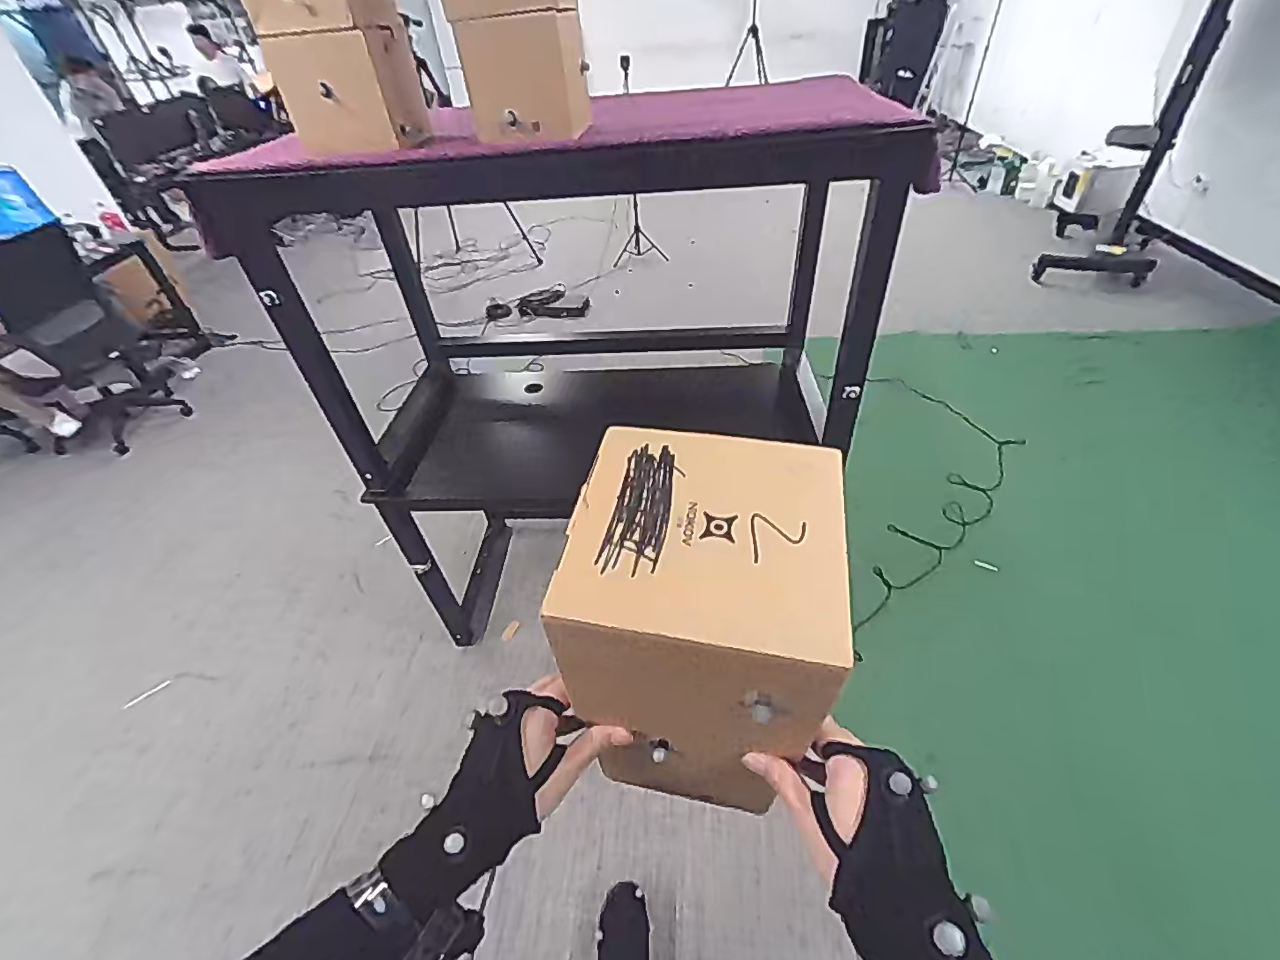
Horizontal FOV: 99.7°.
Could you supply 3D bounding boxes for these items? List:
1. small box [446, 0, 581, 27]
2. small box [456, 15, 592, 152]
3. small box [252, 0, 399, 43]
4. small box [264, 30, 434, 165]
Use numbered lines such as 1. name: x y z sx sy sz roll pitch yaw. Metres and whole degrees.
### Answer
1. small box: -0.199 -0.786 0.802 0.179 0.176 0.168 -1 41 8
2. small box: -0.182 -0.666 0.912 0.168 0.176 0.179 0 42 8
3. small box: -0.504 -0.795 0.845 0.168 0.176 0.179 -1 41 6
4. small box: -0.488 -0.666 0.944 0.179 0.176 0.168 -1 41 6
